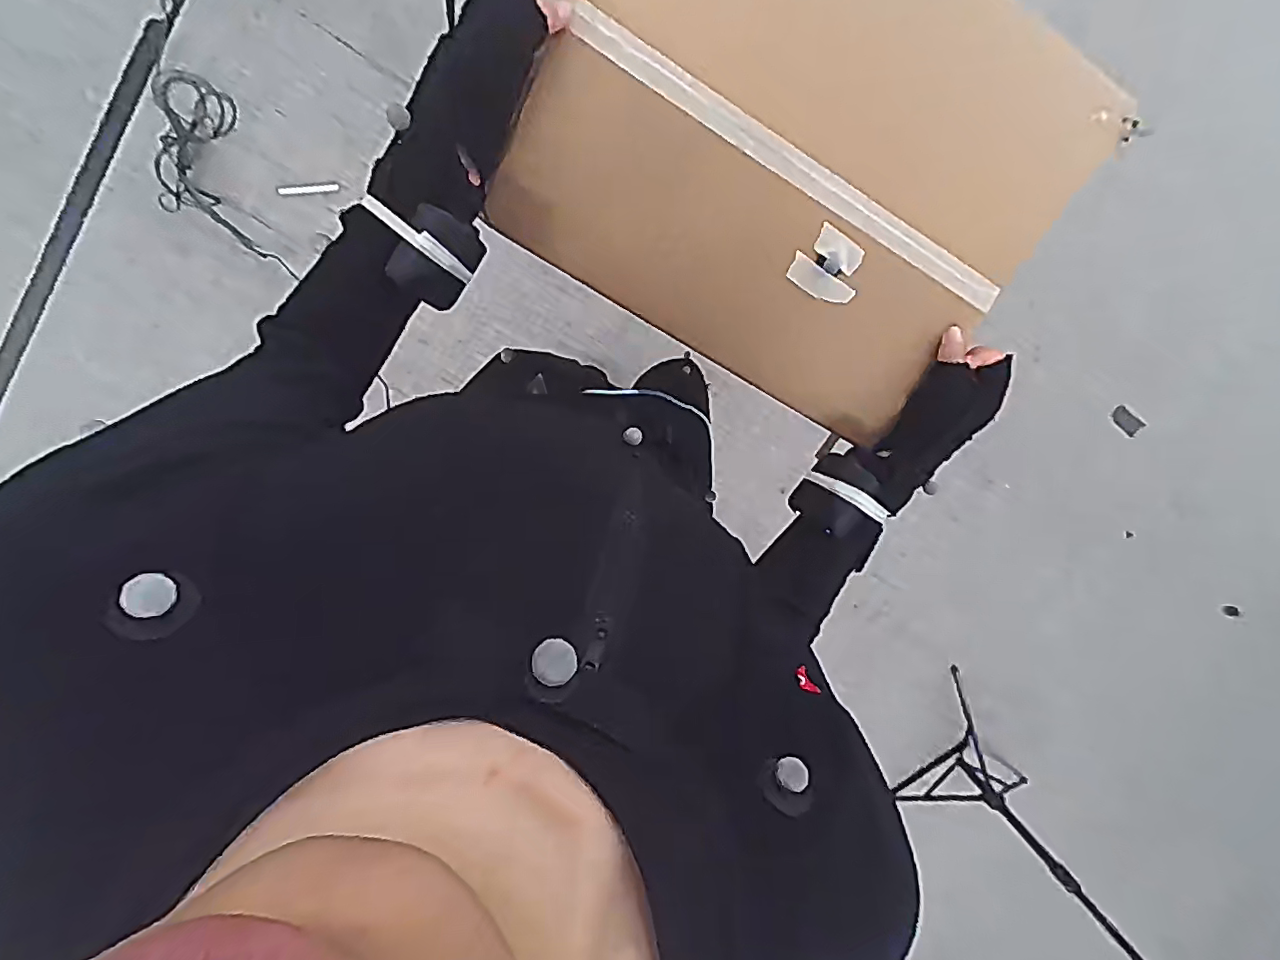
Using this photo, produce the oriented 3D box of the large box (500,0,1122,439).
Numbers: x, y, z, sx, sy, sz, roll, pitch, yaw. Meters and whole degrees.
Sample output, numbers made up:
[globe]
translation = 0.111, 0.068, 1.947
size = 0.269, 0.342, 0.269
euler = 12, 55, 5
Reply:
[large box]
translation = 0.127, -0.306, 0.567
size = 0.408, 0.320, 0.320
euler = 29, 112, -11
